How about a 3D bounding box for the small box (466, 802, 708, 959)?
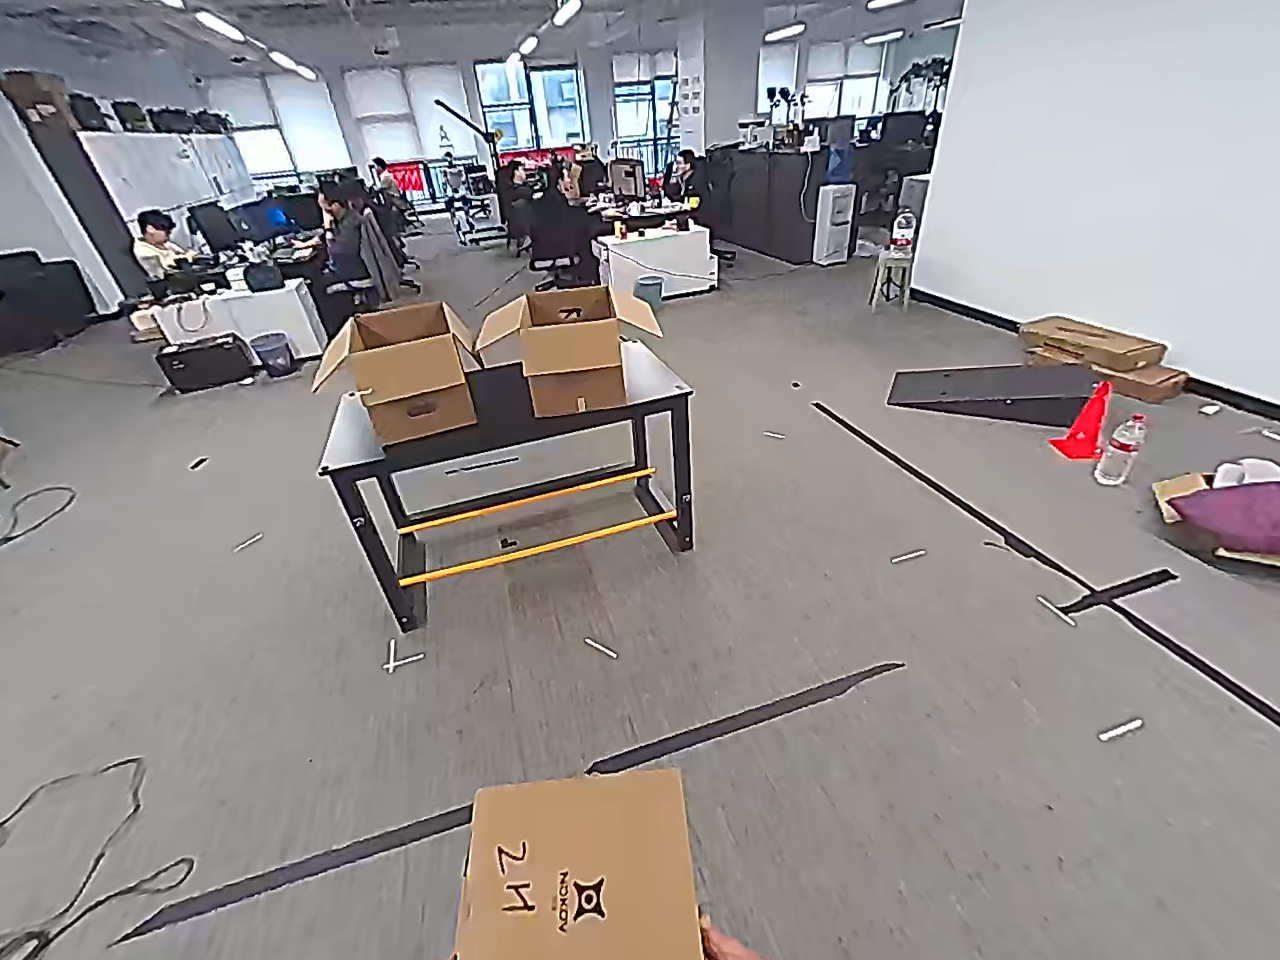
[{"bbox_3d":[-0.036,0.389,0.452,0.179,0.176,0.168,-5,44,-1],"label":"small box"}]
